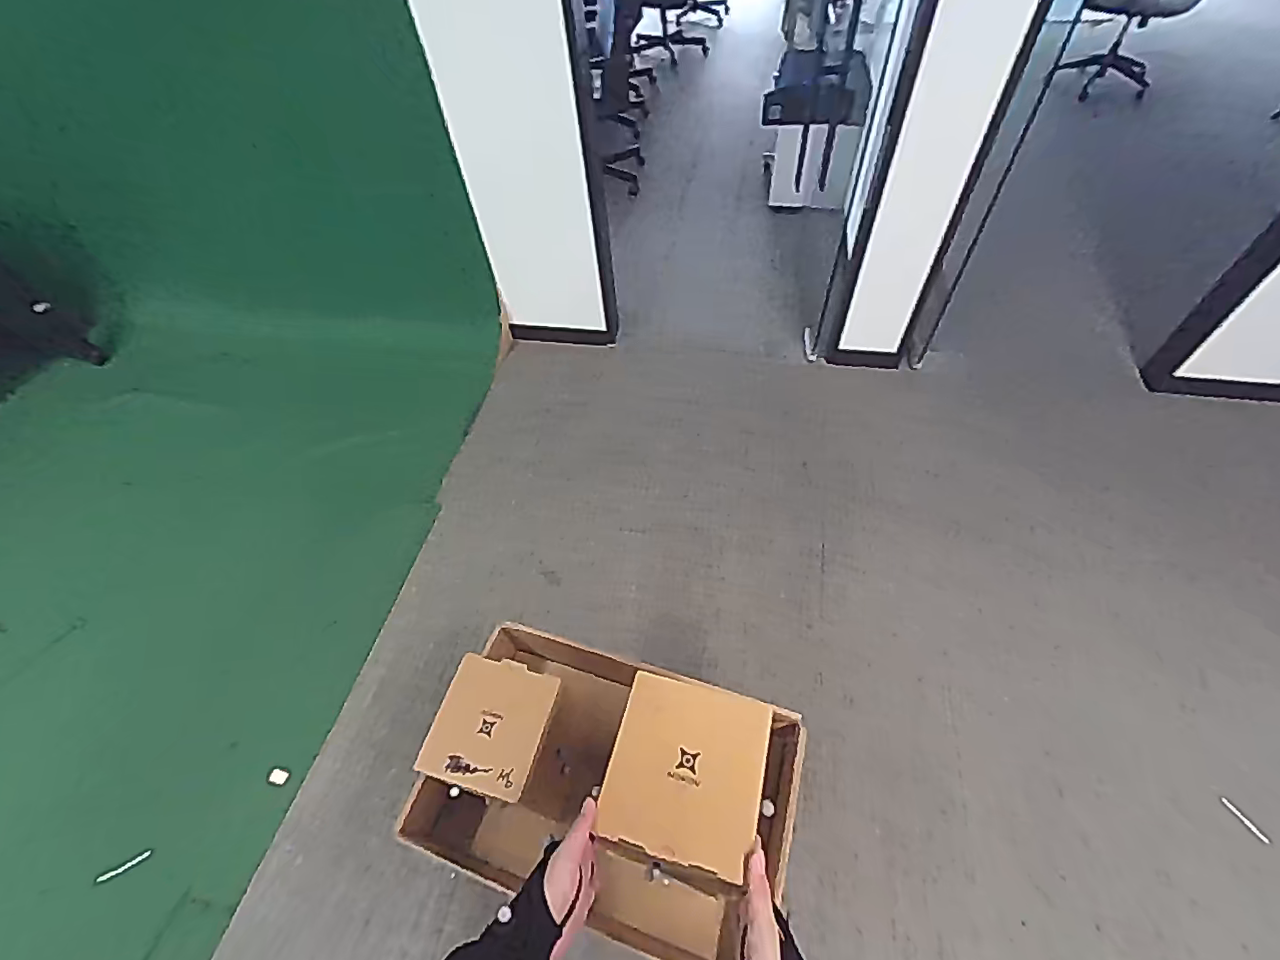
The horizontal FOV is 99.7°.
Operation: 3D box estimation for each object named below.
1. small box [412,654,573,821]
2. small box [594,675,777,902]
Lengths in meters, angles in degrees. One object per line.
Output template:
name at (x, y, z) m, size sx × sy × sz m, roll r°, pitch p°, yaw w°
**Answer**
small box at (-0.213, 0.403, 0.844) m, size 0.168 × 0.176 × 0.179 m, roll 11°, pitch 54°, yaw 13°
small box at (0.056, 0.362, 0.635) m, size 0.168 × 0.176 × 0.179 m, roll 11°, pitch 51°, yaw 12°
